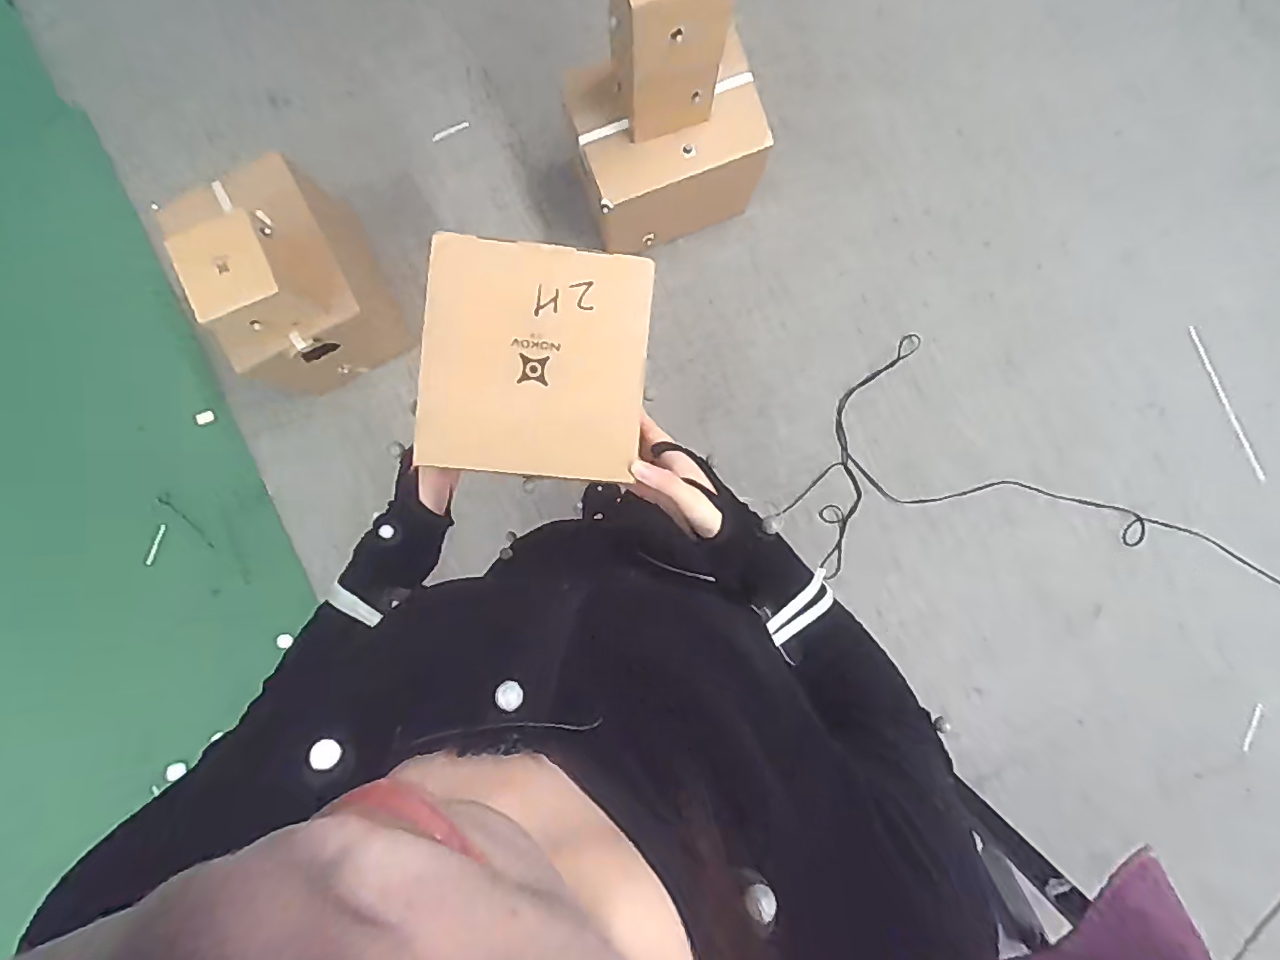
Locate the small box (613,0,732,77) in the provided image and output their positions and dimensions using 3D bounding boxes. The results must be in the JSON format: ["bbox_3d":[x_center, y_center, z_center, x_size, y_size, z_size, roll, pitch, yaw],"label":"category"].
[{"bbox_3d":[0.051,-0.843,0.923,0.179,0.176,0.168,-16,89,1],"label":"small box"}]

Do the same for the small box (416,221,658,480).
[{"bbox_3d":[-0.084,-0.097,0.484,0.168,0.176,0.179,6,90,-7],"label":"small box"}]

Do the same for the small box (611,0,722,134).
[{"bbox_3d":[0.048,-0.844,1.087,0.179,0.176,0.168,-17,89,0],"label":"small box"}]

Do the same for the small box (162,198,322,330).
[{"bbox_3d":[-0.785,-0.418,1.088,0.168,0.176,0.179,-23,90,-1],"label":"small box"}]

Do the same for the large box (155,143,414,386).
[{"bbox_3d":[-0.838,-0.495,1.331,0.320,0.320,0.408,-26,91,0],"label":"large box"}]
